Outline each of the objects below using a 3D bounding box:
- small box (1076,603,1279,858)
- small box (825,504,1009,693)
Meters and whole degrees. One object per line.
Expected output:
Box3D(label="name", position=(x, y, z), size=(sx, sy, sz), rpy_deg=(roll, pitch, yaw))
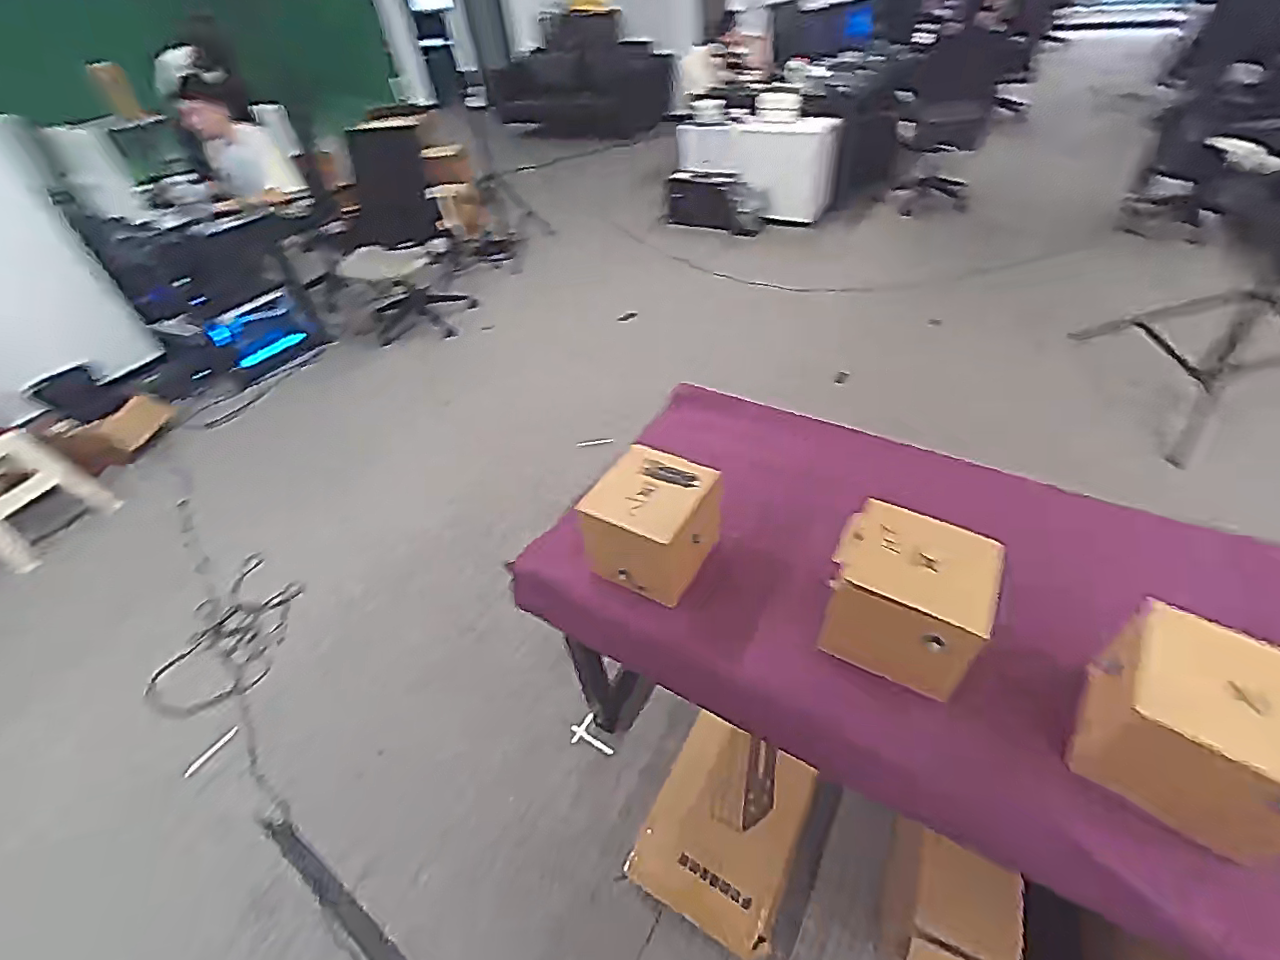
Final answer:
Box3D(label="small box", position=(0.637, 0.280, 0.607), size=(0.179, 0.176, 0.168), rpy_deg=(26, 53, 30))
Box3D(label="small box", position=(0.380, 0.168, 0.758), size=(0.179, 0.176, 0.168), rpy_deg=(19, 47, 26))
